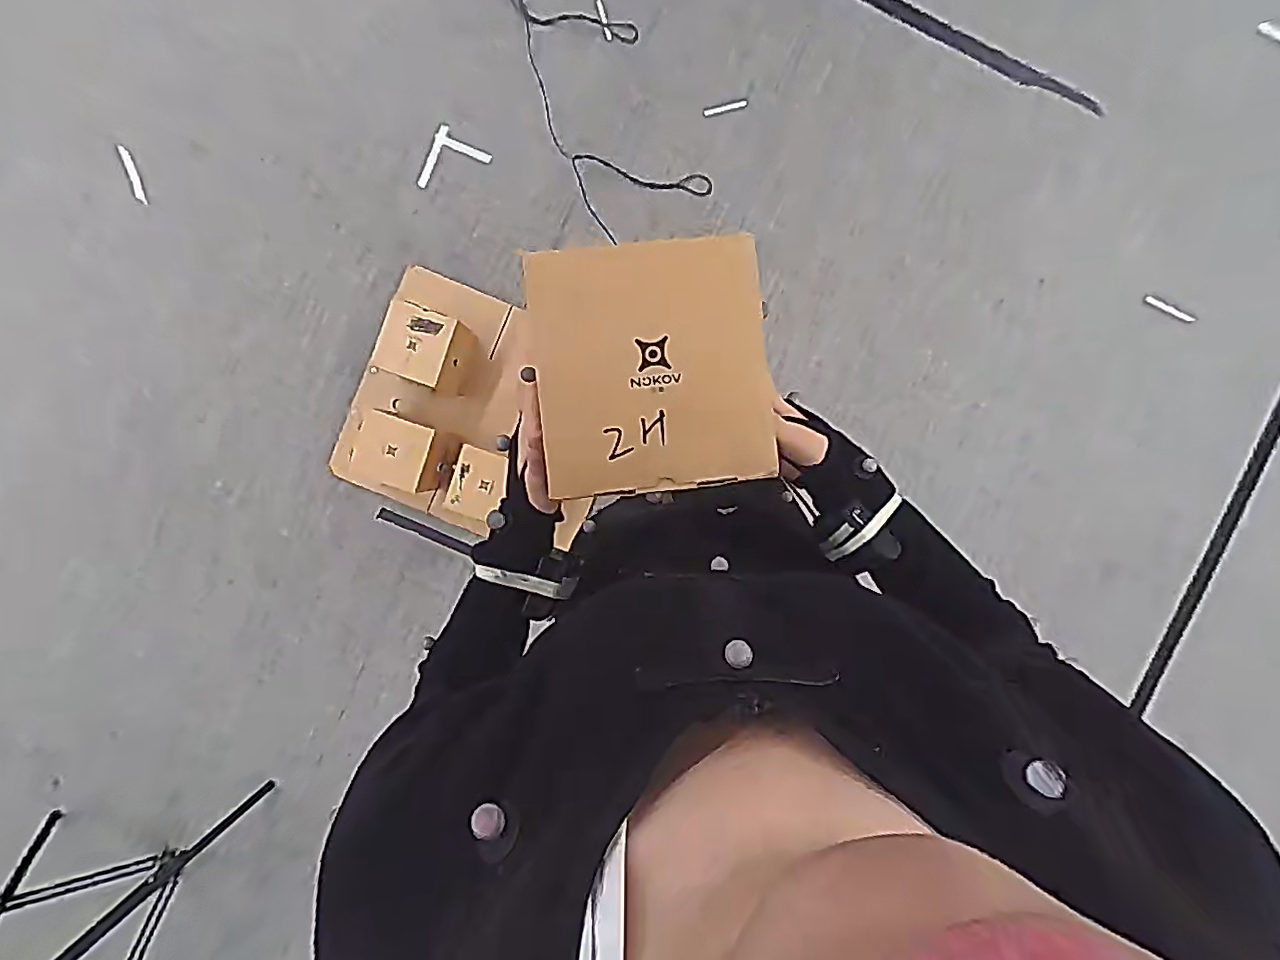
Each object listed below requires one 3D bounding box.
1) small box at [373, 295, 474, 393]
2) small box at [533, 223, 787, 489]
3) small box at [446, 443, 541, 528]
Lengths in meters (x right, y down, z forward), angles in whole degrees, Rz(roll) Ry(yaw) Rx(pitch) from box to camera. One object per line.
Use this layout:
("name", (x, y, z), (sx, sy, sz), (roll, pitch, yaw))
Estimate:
("small box", (-0.535, -0.334, 1.365), (0.168, 0.176, 0.179), (19, 92, -2))
("small box", (0.010, -0.086, 0.453), (0.168, 0.176, 0.179), (-6, 90, -2))
("small box", (-0.364, 0.009, 1.380), (0.179, 0.176, 0.168), (19, 91, -3))
